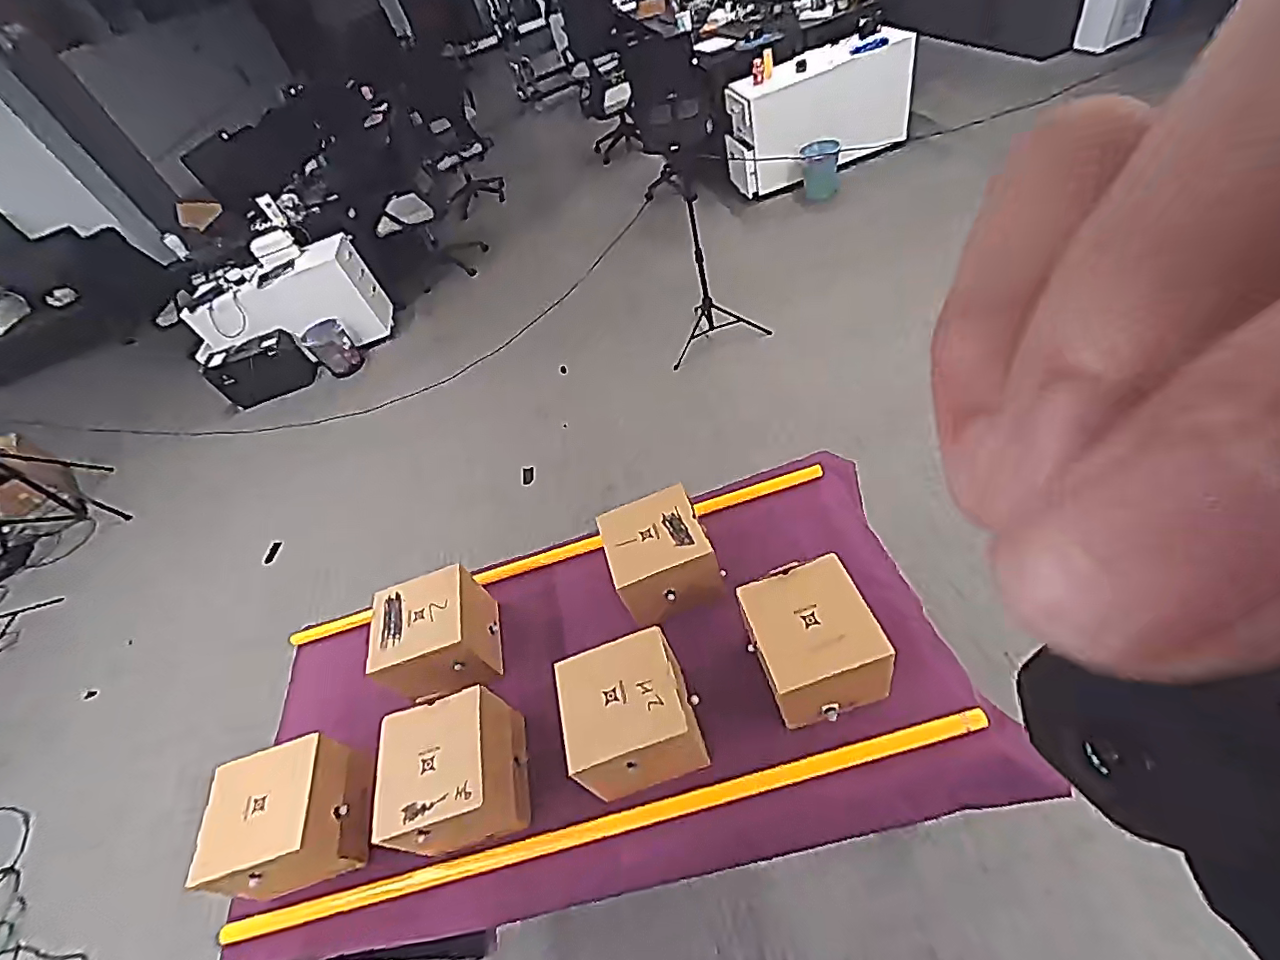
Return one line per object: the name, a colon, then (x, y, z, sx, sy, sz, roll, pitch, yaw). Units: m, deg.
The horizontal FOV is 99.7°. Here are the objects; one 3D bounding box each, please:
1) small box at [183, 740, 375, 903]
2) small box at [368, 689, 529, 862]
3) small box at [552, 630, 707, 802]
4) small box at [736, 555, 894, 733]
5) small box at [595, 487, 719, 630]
small box: (-0.552, 0.545, 0.860, 0.179, 0.176, 0.168, -20, 46, 1)
small box: (-0.285, 0.460, 0.838, 0.168, 0.176, 0.179, -21, 46, 3)
small box: (-0.015, 0.364, 0.825, 0.179, 0.176, 0.168, -21, 45, 2)
small box: (0.261, 0.251, 0.824, 0.168, 0.176, 0.179, -21, 45, 3)
small box: (0.037, 0.148, 0.997, 0.179, 0.176, 0.168, -22, 48, 1)
